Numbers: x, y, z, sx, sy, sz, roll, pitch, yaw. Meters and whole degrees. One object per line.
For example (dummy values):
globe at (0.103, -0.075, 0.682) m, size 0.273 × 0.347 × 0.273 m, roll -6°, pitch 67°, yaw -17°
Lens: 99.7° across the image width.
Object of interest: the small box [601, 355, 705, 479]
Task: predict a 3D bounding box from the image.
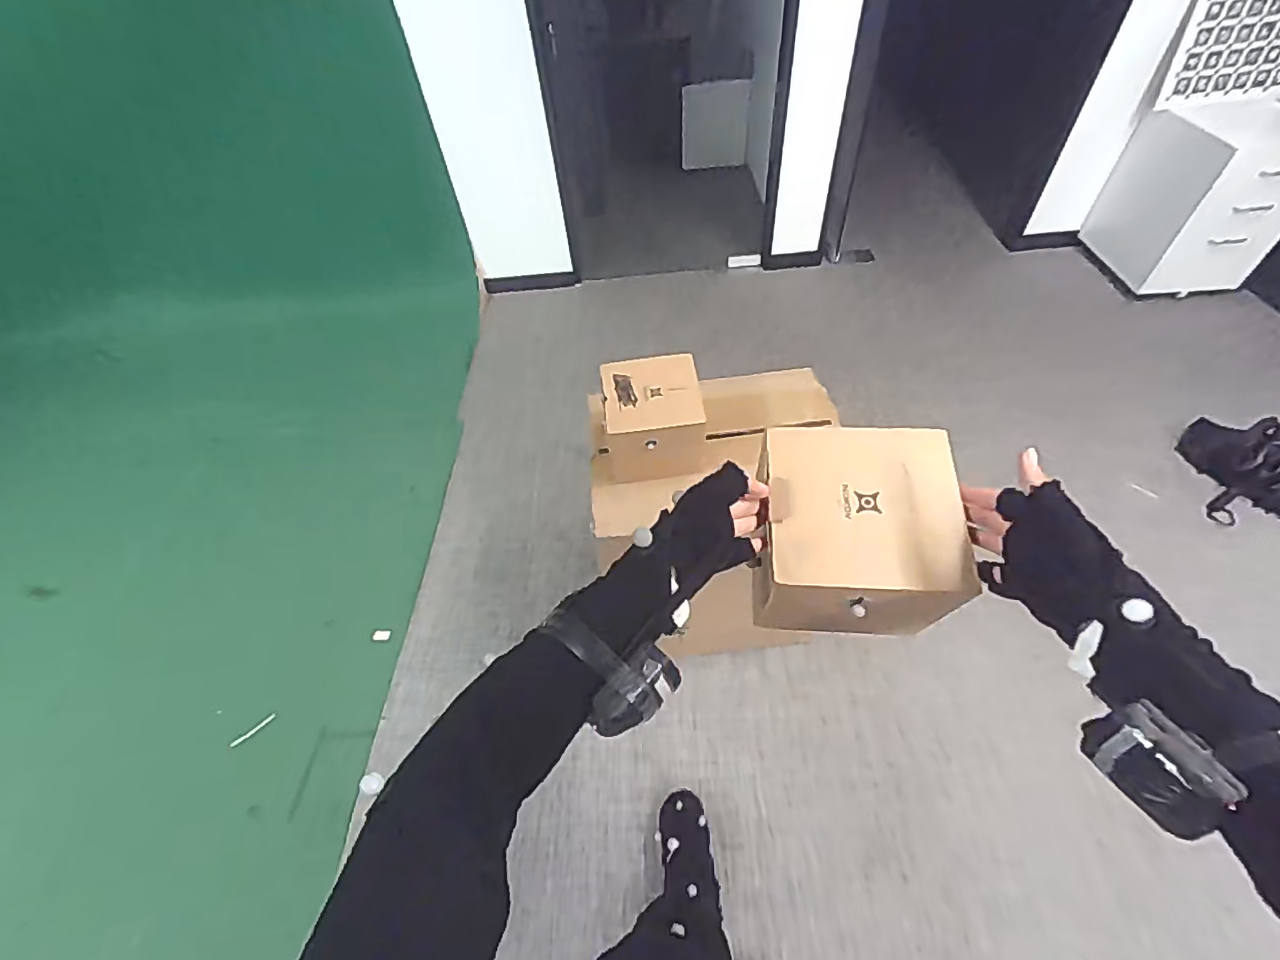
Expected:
small box at (0.025, -0.114, 1.042) m, size 0.179 × 0.176 × 0.168 m, roll -7°, pitch 60°, yaw -1°
